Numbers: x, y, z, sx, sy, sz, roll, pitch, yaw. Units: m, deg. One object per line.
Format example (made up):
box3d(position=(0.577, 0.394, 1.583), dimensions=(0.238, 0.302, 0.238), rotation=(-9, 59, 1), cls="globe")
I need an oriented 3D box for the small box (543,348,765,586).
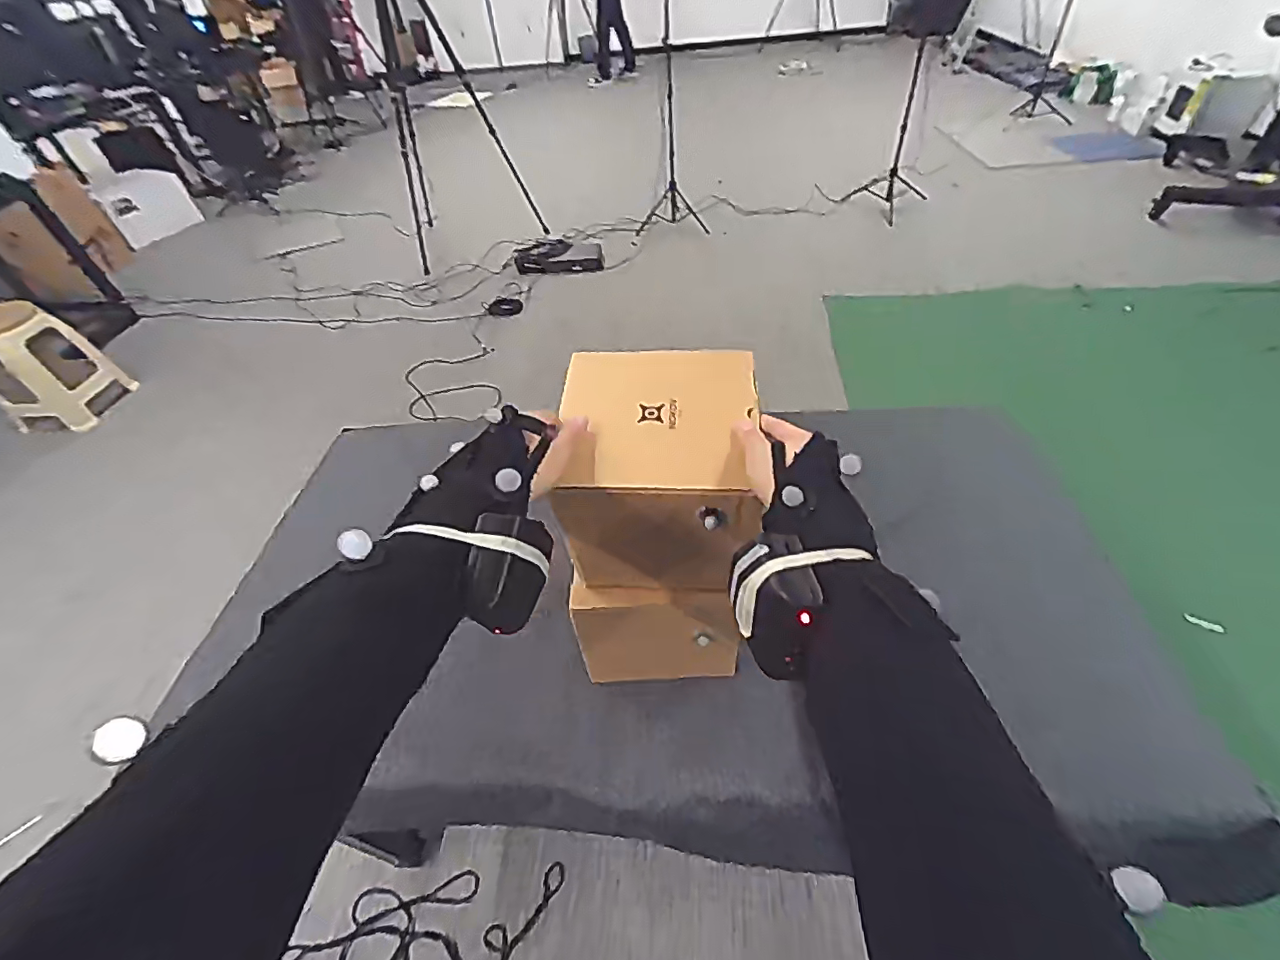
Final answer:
box3d(position=(0.021, -0.008, 0.526), dimensions=(0.179, 0.176, 0.168), rotation=(0, 52, 6), cls="small box")
